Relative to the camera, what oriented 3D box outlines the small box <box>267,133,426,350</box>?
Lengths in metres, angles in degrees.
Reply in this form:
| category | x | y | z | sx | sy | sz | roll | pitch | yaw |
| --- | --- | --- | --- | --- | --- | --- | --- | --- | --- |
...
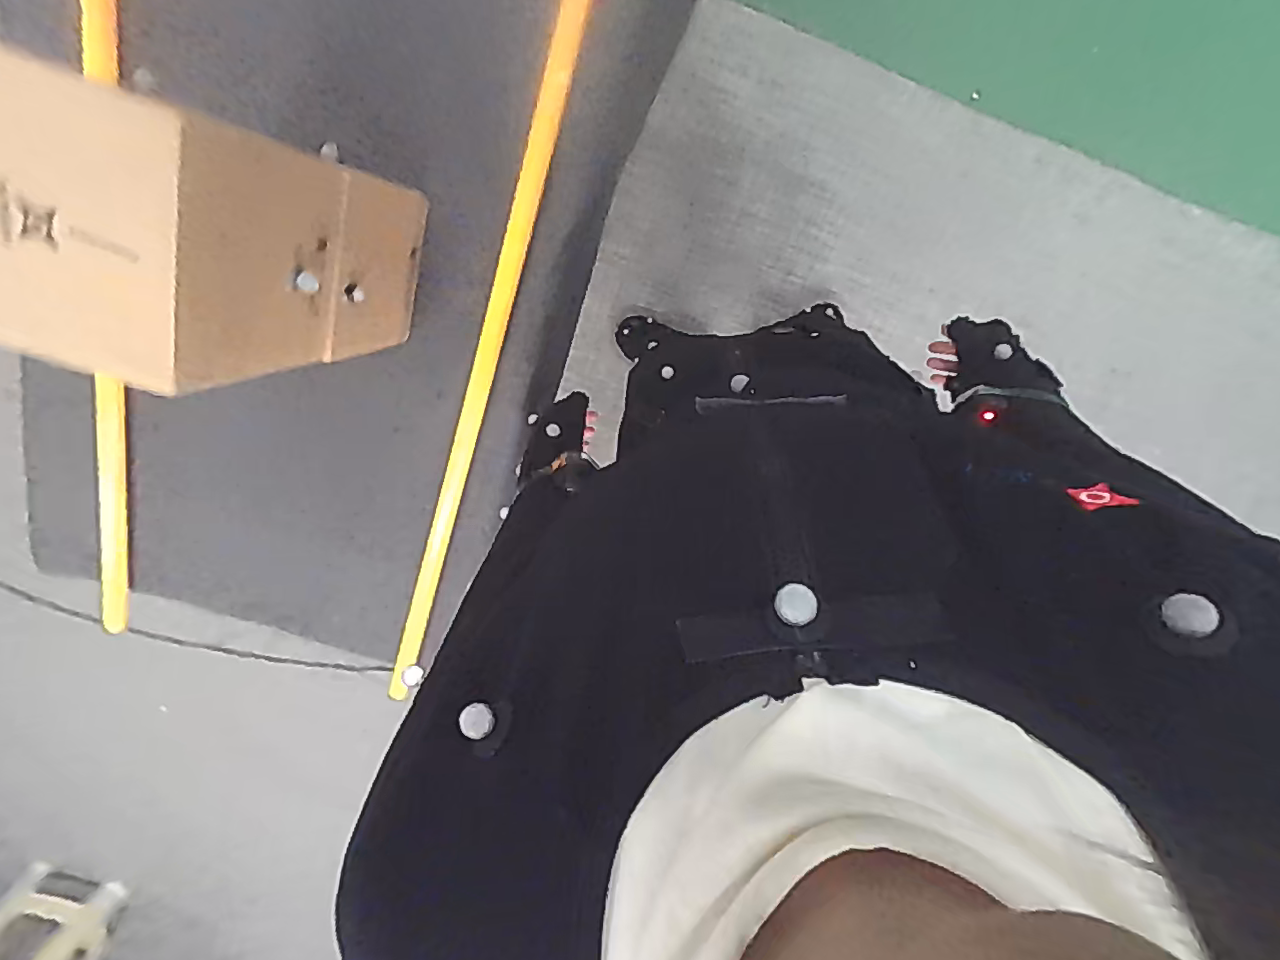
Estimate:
| category | x | y | z | sx | sy | sz | roll | pitch | yaw |
| --- | --- | --- | --- | --- | --- | --- | --- | --- | --- |
| small box | -0.344 | -0.244 | 0.542 | 0.179 | 0.176 | 0.168 | 17 | 111 | -4 |

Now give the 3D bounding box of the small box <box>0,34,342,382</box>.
| category | x | y | z | sx | sy | sz | roll | pitch | yaw |
| --- | --- | --- | --- | --- | --- | --- | --- | --- | --- |
| small box | -0.353 | -0.187 | 0.387 | 0.179 | 0.176 | 0.168 | 18 | 111 | -5 |
